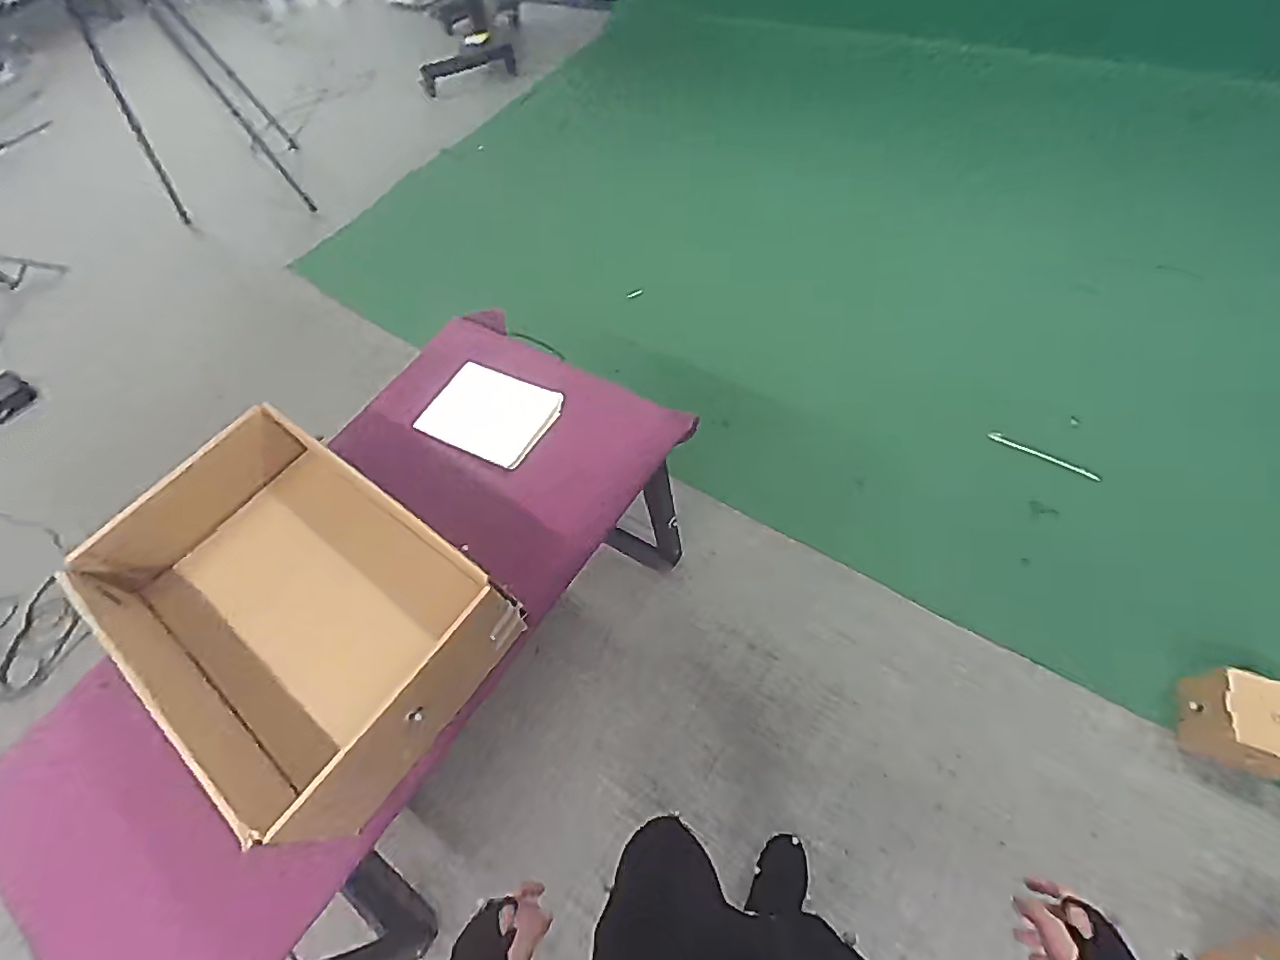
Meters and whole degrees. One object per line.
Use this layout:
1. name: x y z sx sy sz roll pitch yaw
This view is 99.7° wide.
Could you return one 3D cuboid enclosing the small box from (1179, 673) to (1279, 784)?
1. small box: 1.365 0.562 1.212 0.179 0.176 0.168 18 63 19
